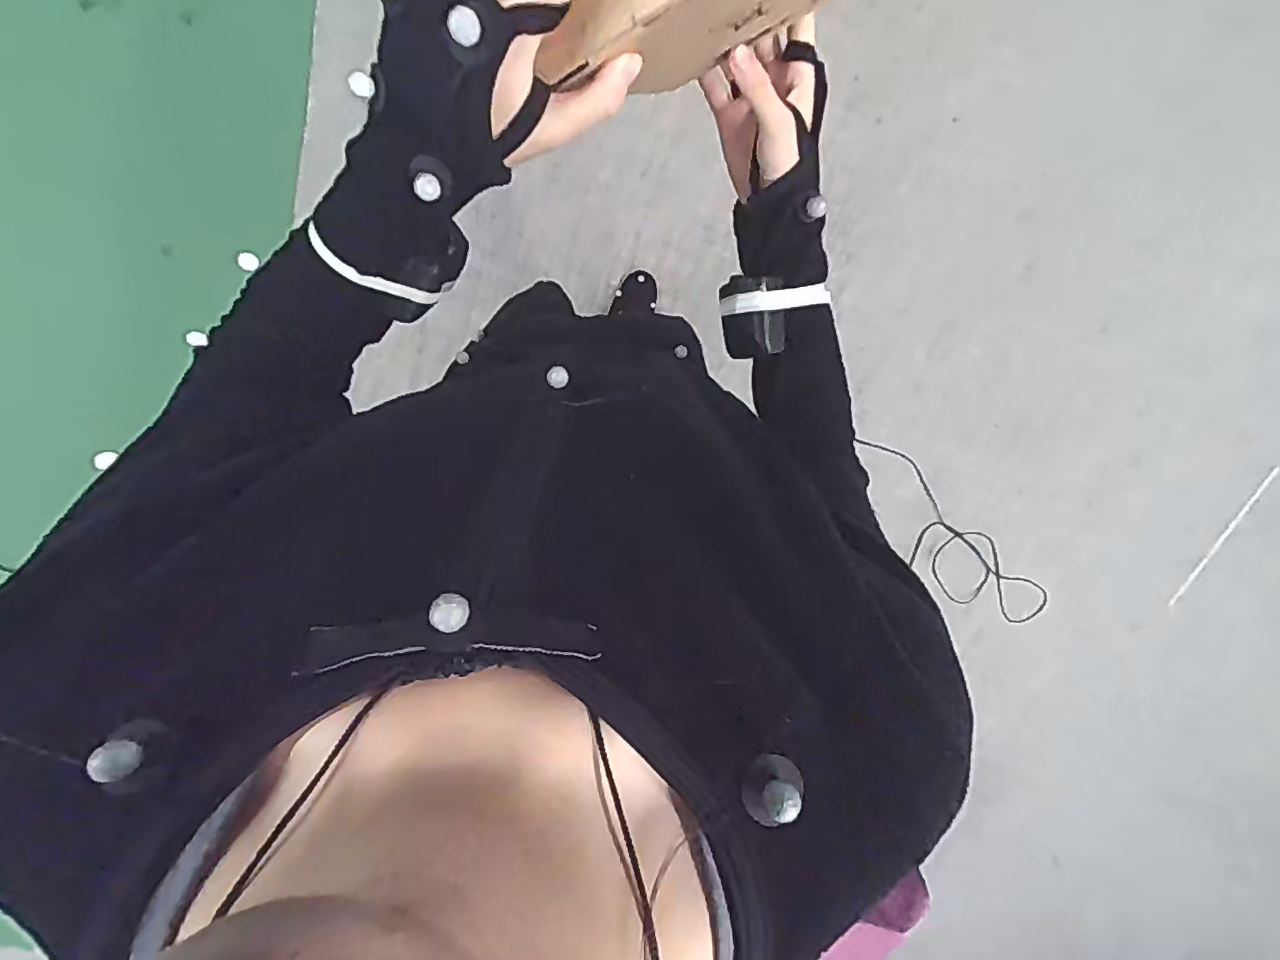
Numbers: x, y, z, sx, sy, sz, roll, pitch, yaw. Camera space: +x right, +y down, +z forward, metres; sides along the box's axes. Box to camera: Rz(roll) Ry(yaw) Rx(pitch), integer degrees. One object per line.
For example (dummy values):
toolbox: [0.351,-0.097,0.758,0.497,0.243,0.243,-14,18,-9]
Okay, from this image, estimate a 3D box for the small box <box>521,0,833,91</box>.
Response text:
small box: [0.025,-0.311,0.244,0.168,0.179,0.176,-4,119,33]
